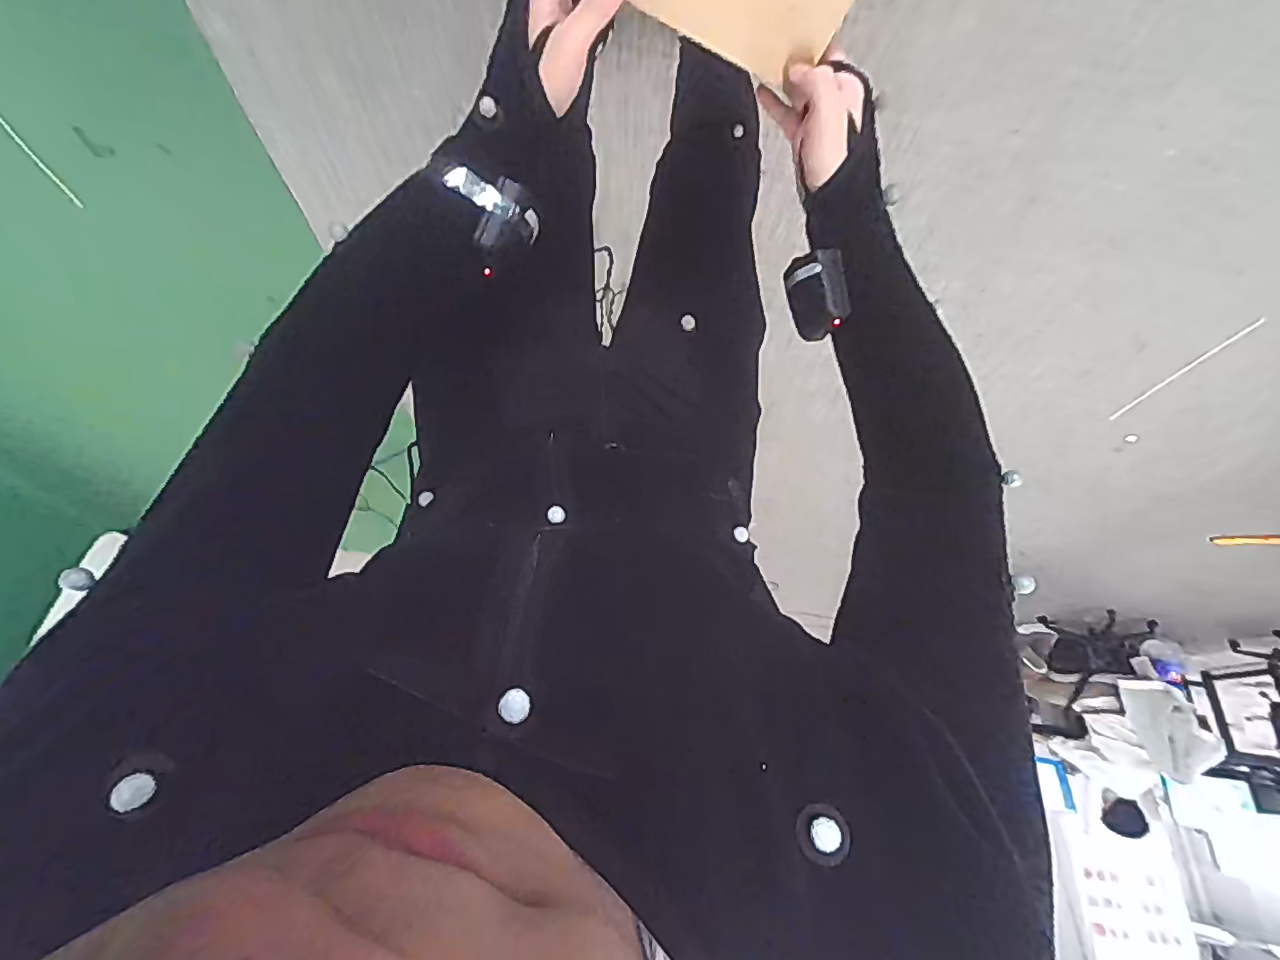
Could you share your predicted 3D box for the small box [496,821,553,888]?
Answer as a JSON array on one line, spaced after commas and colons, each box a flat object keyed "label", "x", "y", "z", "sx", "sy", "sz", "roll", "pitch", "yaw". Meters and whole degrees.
[{"label": "small box", "x": -0.412, "y": 1.340, "z": 1.945, "sx": 0.168, "sy": 0.176, "sz": 0.179, "roll": 9, "pitch": 155, "yaw": -2}]

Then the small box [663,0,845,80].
[{"label": "small box", "x": 0.084, "y": -0.449, "z": 0.389, "sx": 0.168, "sy": 0.176, "sz": 0.179, "roll": 11, "pitch": 141, "yaw": -25}]
